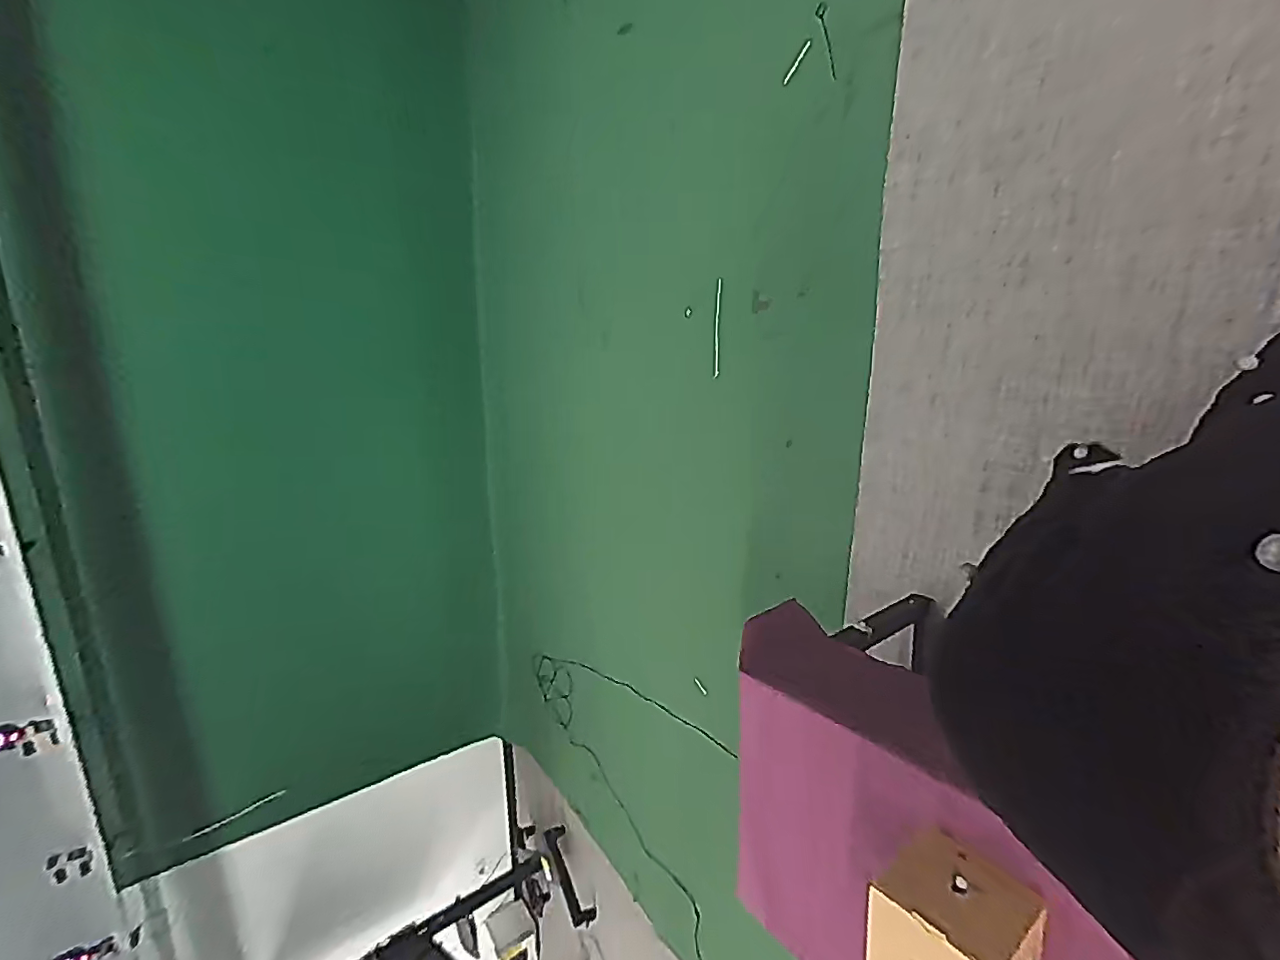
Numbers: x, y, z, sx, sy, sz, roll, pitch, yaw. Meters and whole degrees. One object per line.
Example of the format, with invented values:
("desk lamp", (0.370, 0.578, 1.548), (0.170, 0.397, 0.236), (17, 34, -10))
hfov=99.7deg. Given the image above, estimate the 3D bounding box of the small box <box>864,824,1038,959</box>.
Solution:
("small box", (0.450, 0.654, 0.786), (0.168, 0.176, 0.179), (13, 108, 52))
